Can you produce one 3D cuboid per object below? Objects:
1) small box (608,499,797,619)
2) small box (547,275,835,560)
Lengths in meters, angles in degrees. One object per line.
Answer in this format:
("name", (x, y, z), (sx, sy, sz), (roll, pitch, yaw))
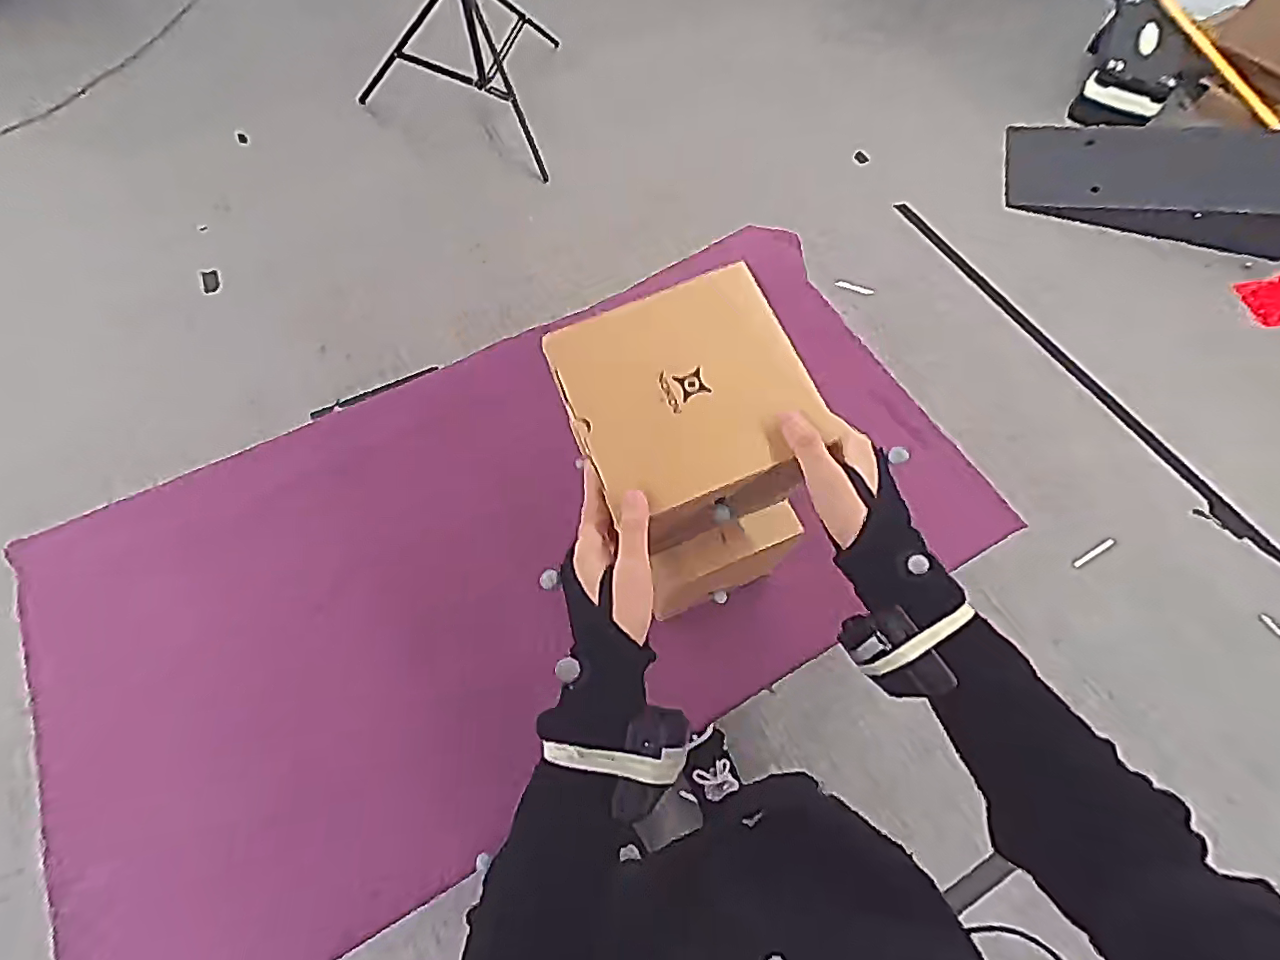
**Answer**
("small box", (0.060, 0.049, 0.668), (0.168, 0.176, 0.179), (-21, 68, -10))
("small box", (0.038, -0.041, 0.486), (0.179, 0.176, 0.168), (-23, 74, -4))
